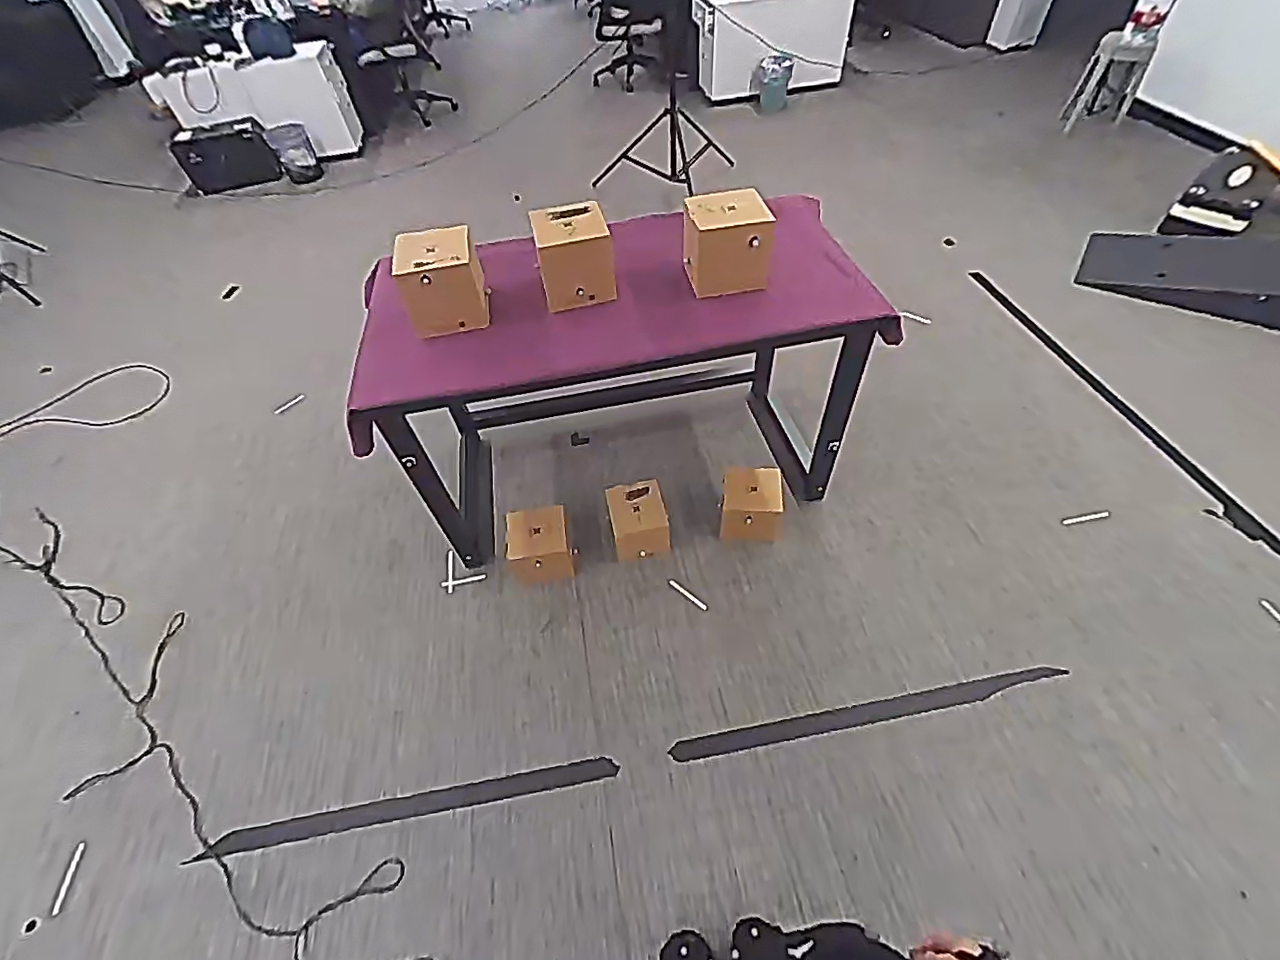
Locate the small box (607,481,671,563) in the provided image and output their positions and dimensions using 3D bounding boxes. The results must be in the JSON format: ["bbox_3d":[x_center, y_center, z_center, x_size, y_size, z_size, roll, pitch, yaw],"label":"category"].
[{"bbox_3d":[-0.002,0.132,1.685,0.168,0.176,0.179,-12,52,-4],"label":"small box"}]

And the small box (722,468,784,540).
[{"bbox_3d":[0.350,0.078,1.699,0.179,0.176,0.168,2,52,8],"label":"small box"}]

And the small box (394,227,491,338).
[{"bbox_3d":[-0.453,-0.459,1.262,0.168,0.176,0.179,-12,51,-5],"label":"small box"}]

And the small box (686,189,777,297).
[{"bbox_3d":[0.207,-0.559,1.283,0.179,0.176,0.168,-10,50,-2],"label":"small box"}]
